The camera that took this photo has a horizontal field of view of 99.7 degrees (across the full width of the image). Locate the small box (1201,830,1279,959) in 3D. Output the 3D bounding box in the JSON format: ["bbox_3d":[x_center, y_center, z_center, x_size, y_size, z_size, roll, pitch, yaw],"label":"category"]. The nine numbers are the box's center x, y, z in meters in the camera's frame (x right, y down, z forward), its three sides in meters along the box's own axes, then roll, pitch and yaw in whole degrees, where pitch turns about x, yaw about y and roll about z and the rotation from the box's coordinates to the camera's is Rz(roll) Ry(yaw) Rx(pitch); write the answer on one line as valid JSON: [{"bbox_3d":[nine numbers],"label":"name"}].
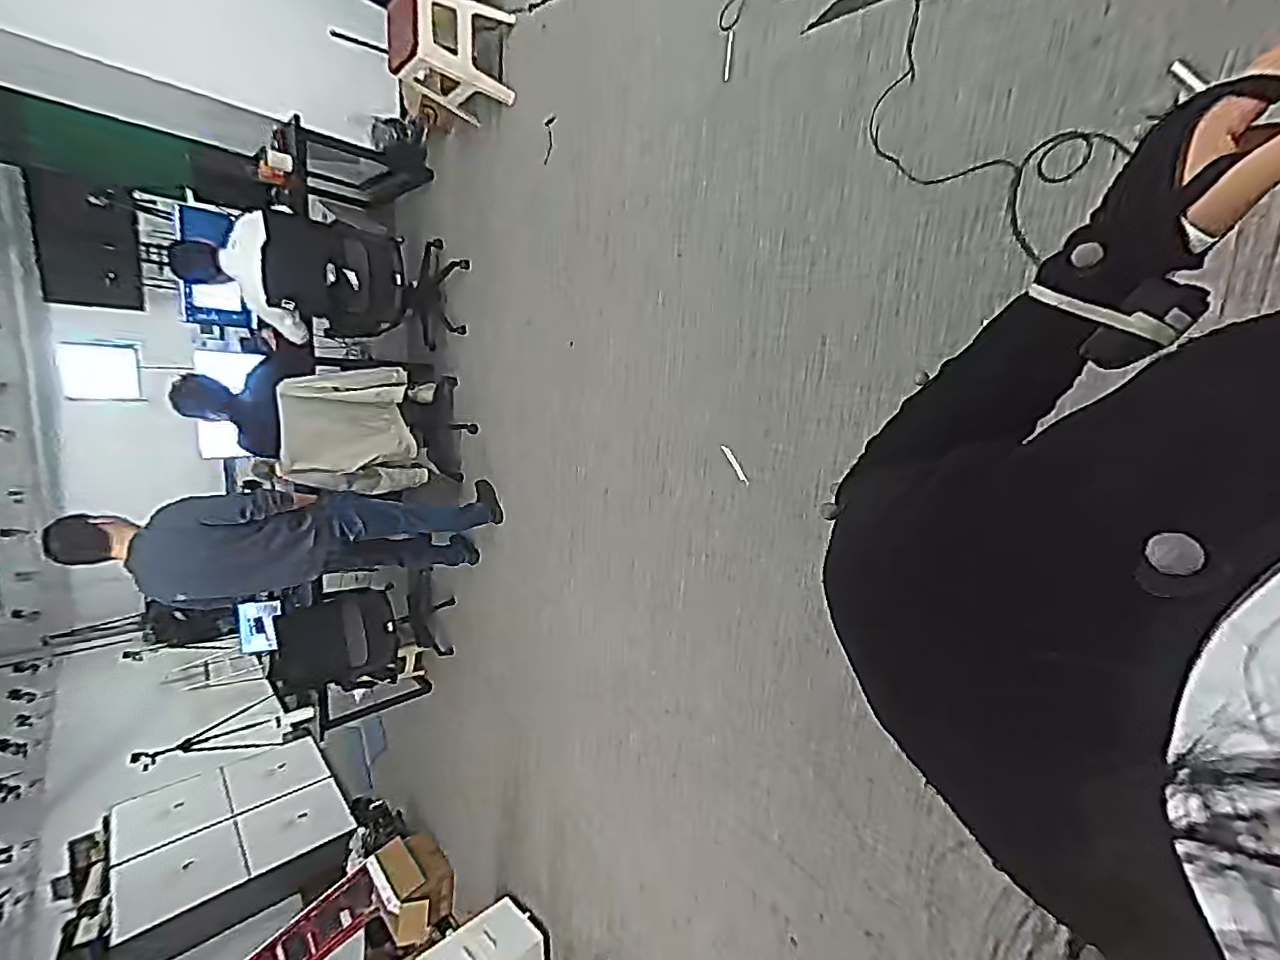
[{"bbox_3d":[0.799,0.574,0.640,0.168,0.176,0.179,13,103,43],"label":"small box"}]

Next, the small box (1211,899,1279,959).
[{"bbox_3d":[0.680,0.575,0.527,0.168,0.176,0.179,15,103,43],"label":"small box"}]
